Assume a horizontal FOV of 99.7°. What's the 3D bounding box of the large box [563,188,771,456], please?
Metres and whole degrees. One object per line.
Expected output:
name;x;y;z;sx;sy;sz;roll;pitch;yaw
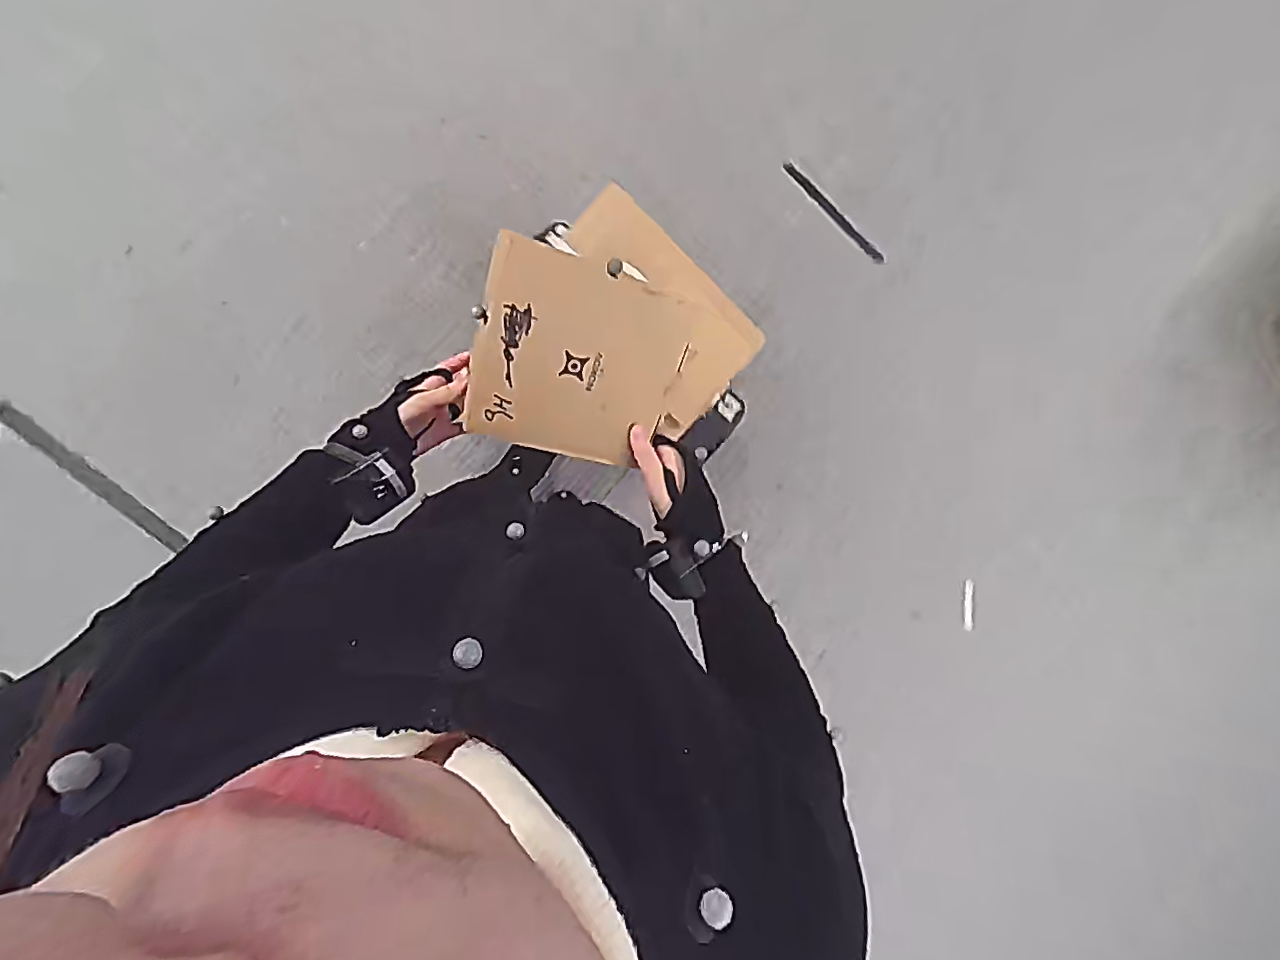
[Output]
large box;-0.011;-0.294;1.135;0.408;0.320;0.320;43;88;-7

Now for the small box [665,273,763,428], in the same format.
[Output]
small box;0.069;-0.205;0.904;0.168;0.176;0.179;-43;97;-2

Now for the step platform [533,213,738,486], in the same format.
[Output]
step platform;-0.063;-0.311;1.368;0.286;0.204;0.684;-42;97;-2

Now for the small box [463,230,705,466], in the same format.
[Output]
small box;-0.068;-0.134;0.530;0.179;0.176;0.168;11;112;-22
